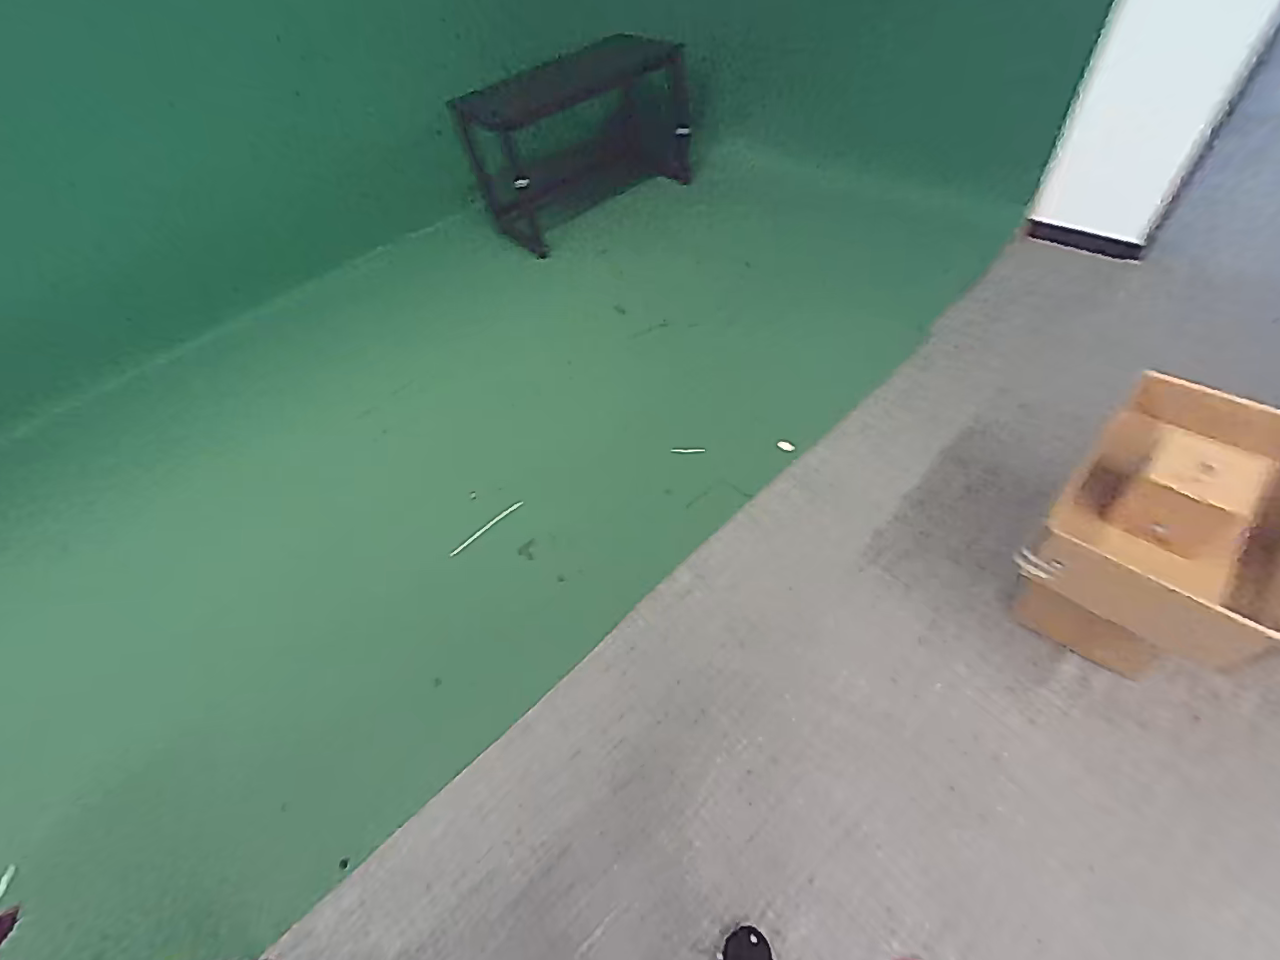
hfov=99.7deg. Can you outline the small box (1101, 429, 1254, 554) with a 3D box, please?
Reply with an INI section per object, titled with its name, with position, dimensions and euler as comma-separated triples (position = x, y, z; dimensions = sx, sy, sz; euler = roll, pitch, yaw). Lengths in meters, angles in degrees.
[small box]
position = 1.170, 0.026, 1.190
dimensions = 0.168, 0.176, 0.179
euler = 33, 63, 31
